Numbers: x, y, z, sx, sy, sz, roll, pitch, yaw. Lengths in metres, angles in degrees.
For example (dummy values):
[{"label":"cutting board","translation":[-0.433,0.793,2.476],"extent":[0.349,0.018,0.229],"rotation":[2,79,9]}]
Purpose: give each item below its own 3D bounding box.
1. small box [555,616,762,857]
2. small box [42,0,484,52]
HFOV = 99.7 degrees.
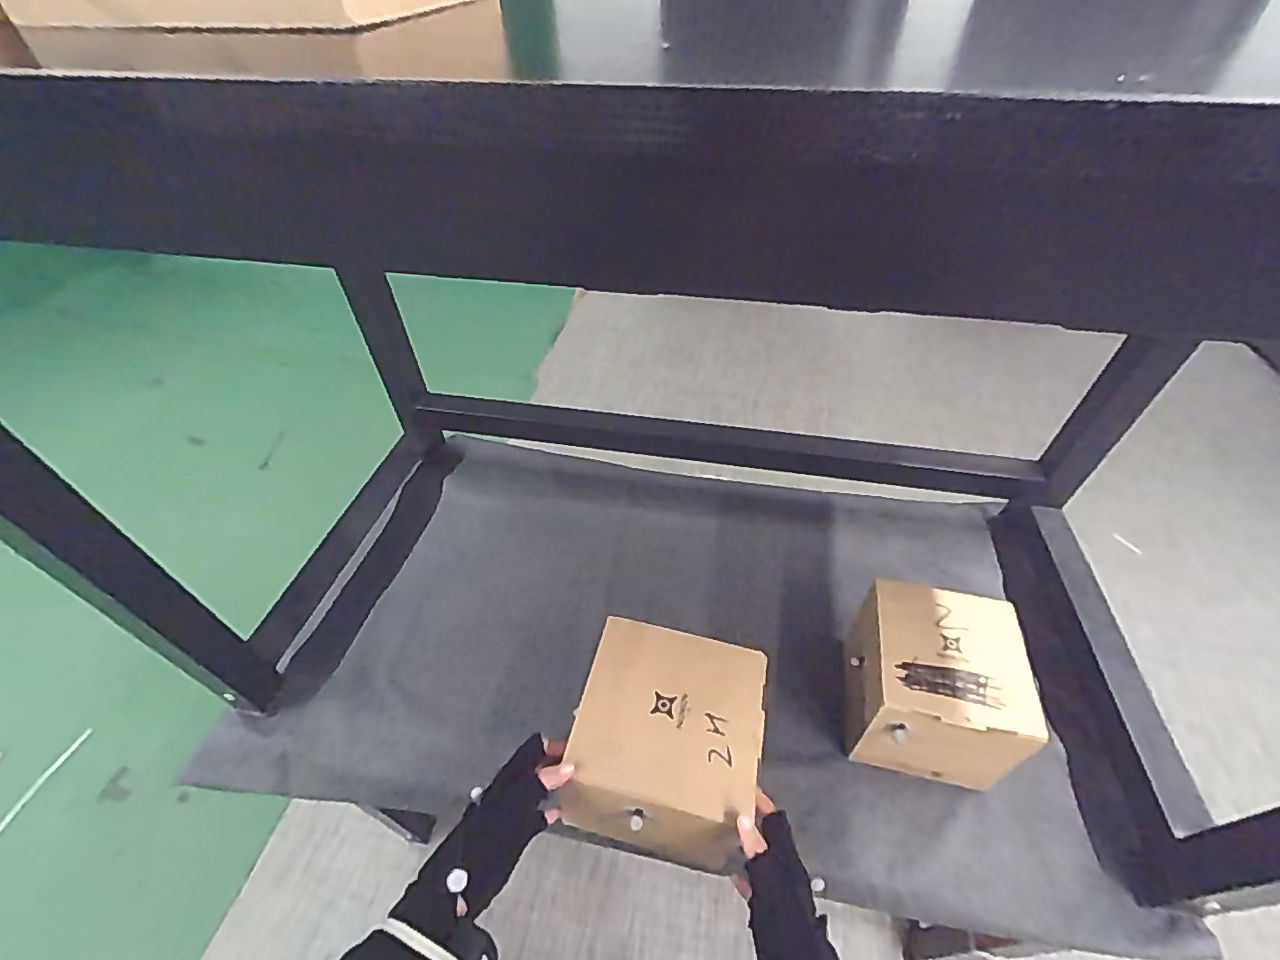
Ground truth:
[{"label":"small box","translation":[0.020,0.277,0.580],"extent":[0.179,0.176,0.168],"rotation":[13,47,6]},{"label":"small box","translation":[-0.185,-0.305,0.238],"extent":[0.168,0.176,0.179],"rotation":[6,45,7]}]
